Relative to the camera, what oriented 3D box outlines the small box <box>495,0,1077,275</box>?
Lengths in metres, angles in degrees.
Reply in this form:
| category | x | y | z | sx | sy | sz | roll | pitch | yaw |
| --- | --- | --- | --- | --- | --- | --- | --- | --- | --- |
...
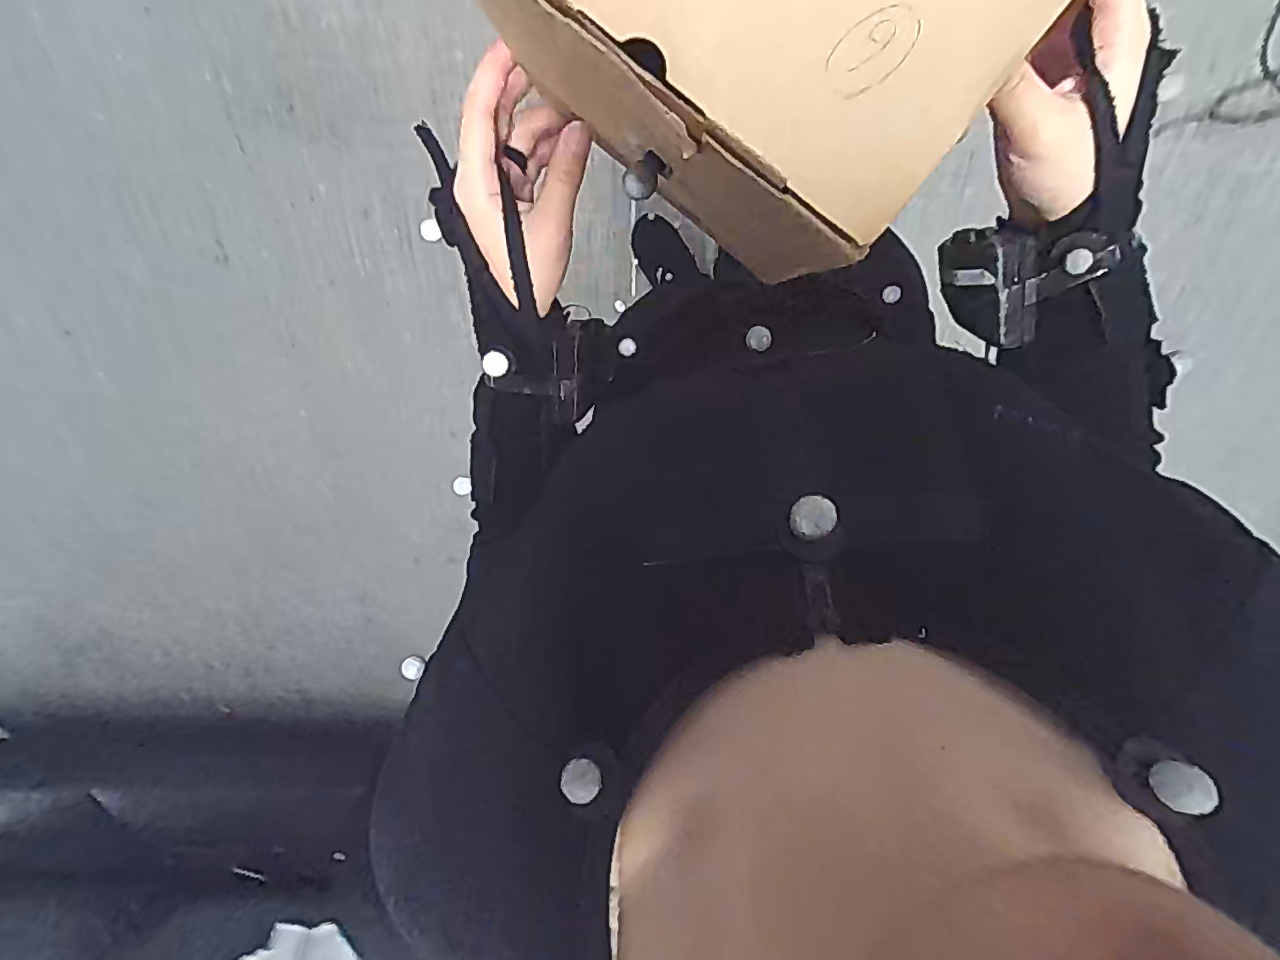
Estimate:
| category | x | y | z | sx | sy | sz | roll | pitch | yaw |
| --- | --- | --- | --- | --- | --- | --- | --- | --- | --- |
| small box | 0.063 | -0.204 | 0.218 | 0.168 | 0.176 | 0.179 | 36 | 107 | -7 |
